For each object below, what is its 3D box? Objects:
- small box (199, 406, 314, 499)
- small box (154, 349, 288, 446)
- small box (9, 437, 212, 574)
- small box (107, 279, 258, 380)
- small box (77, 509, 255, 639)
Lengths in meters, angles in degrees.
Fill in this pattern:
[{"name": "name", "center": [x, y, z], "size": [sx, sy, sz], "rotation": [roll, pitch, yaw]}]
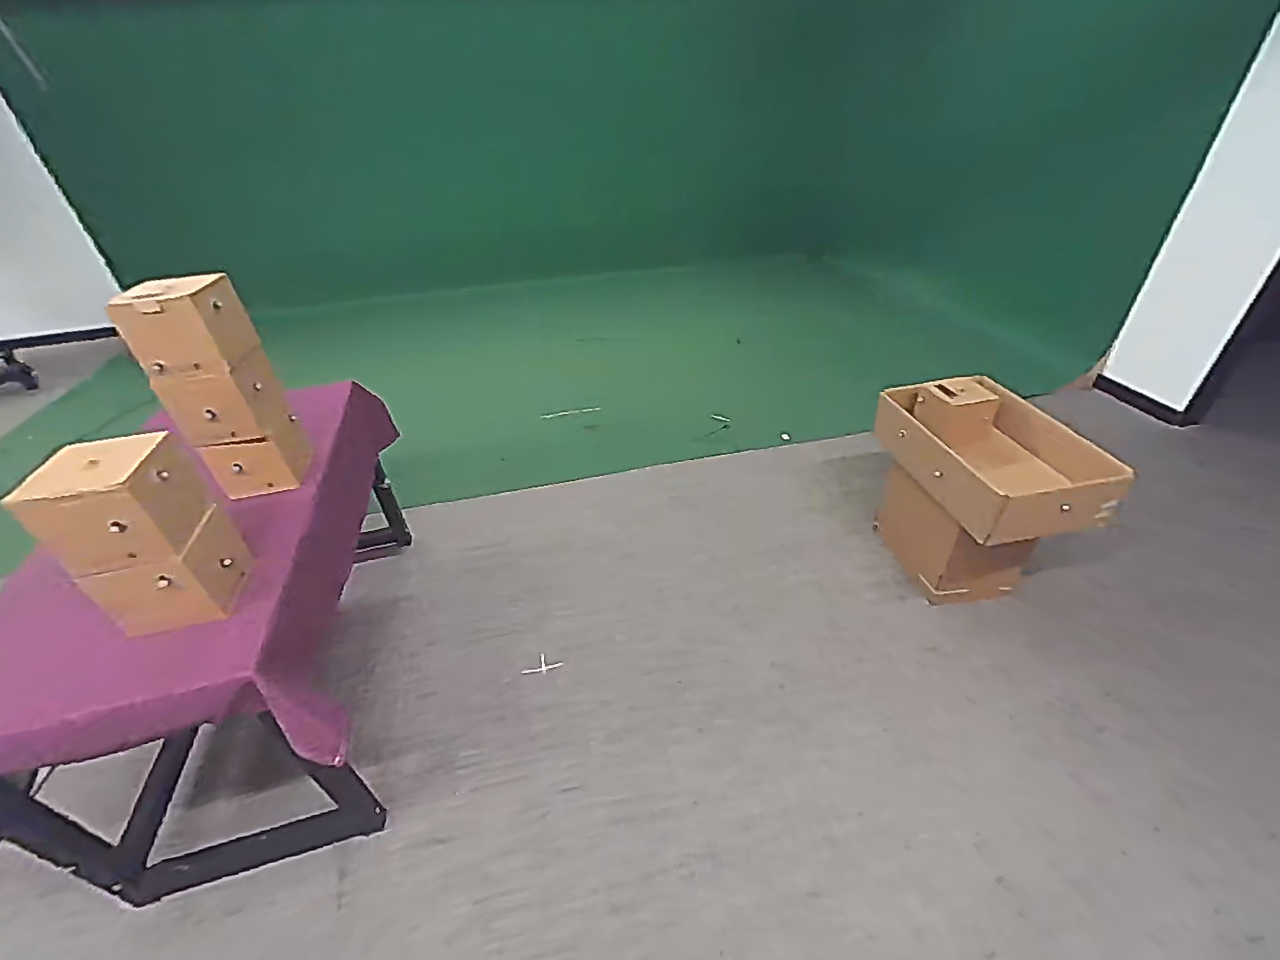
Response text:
[{"name": "small box", "center": [-0.973, -0.065, 1.394], "size": [0.168, 0.176, 0.179], "rotation": [-11, 37, -9]}, {"name": "small box", "center": [-0.983, -0.192, 1.290], "size": [0.168, 0.176, 0.179], "rotation": [-9, 37, -6]}, {"name": "small box", "center": [-0.912, 0.049, 0.959], "size": [0.168, 0.176, 0.179], "rotation": [-10, 37, -10]}, {"name": "small box", "center": [-0.994, -0.329, 1.199], "size": [0.168, 0.176, 0.179], "rotation": [-9, 36, -6]}, {"name": "small box", "center": [-0.899, 0.183, 1.053], "size": [0.179, 0.176, 0.168], "rotation": [-11, 37, -8]}]
